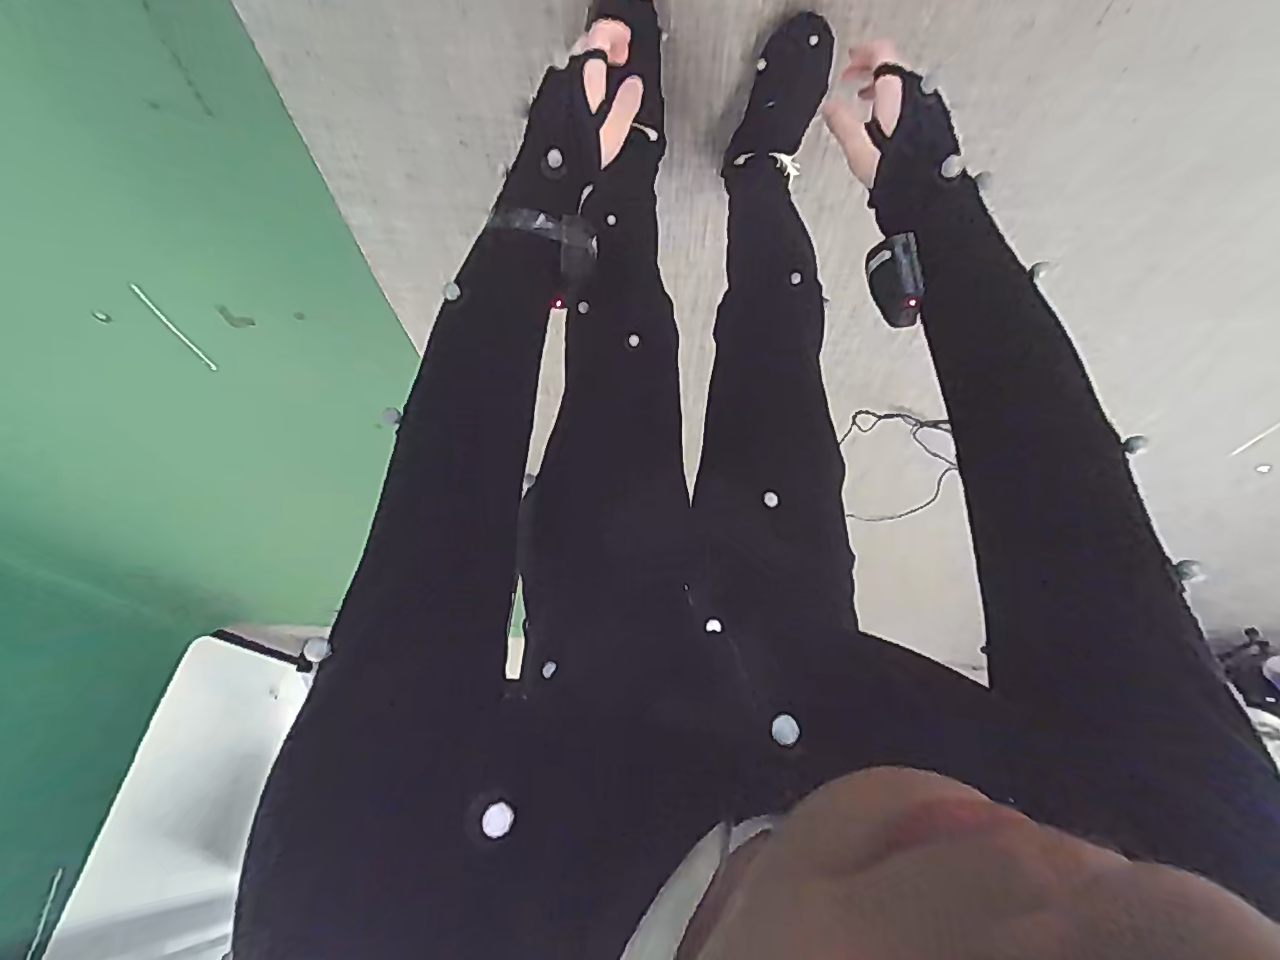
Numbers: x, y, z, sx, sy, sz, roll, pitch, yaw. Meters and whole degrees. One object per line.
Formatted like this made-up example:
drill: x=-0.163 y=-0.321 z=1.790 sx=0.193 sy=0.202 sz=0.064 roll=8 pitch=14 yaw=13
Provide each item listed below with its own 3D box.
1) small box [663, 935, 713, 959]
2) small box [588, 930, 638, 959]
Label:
small box: x=0.160 y=1.670 z=1.834 sx=0.168 sy=0.176 sz=0.179 roll=2 pitch=151 yaw=3
small box: x=-0.092 y=1.662 z=1.847 sx=0.168 sy=0.176 sz=0.179 roll=2 pitch=150 yaw=2
